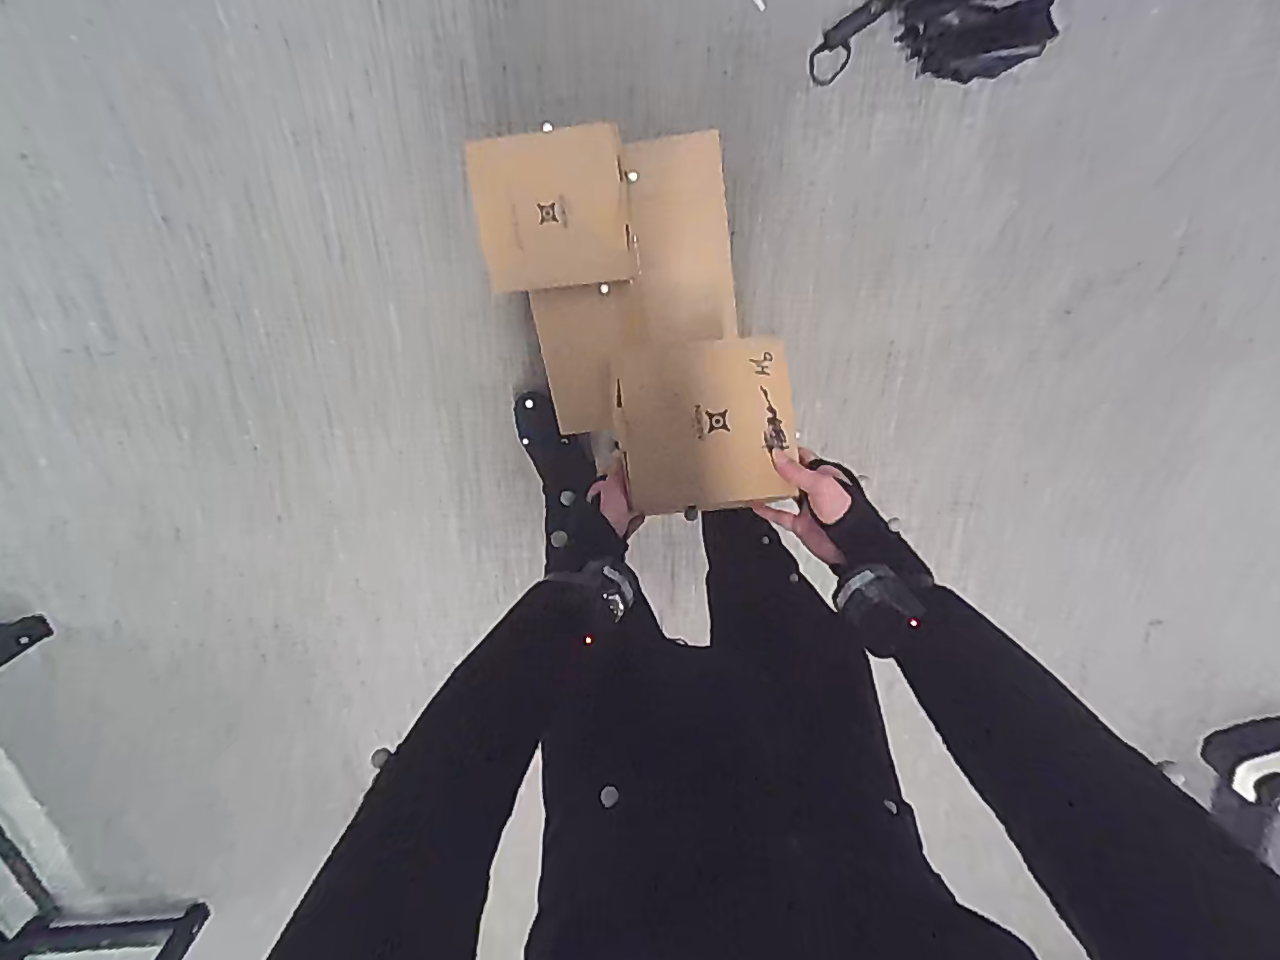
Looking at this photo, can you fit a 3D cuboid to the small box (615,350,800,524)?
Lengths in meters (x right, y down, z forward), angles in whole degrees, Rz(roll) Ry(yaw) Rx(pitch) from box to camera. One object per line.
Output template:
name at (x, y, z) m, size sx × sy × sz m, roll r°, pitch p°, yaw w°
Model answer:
small box at (0.064, -0.038, 0.622) m, size 0.179 × 0.176 × 0.168 m, roll -5°, pitch 85°, yaw -5°

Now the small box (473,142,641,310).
small box at (-0.093, -0.324, 0.712) m, size 0.179 × 0.176 × 0.168 m, roll -6°, pitch 110°, yaw 6°
